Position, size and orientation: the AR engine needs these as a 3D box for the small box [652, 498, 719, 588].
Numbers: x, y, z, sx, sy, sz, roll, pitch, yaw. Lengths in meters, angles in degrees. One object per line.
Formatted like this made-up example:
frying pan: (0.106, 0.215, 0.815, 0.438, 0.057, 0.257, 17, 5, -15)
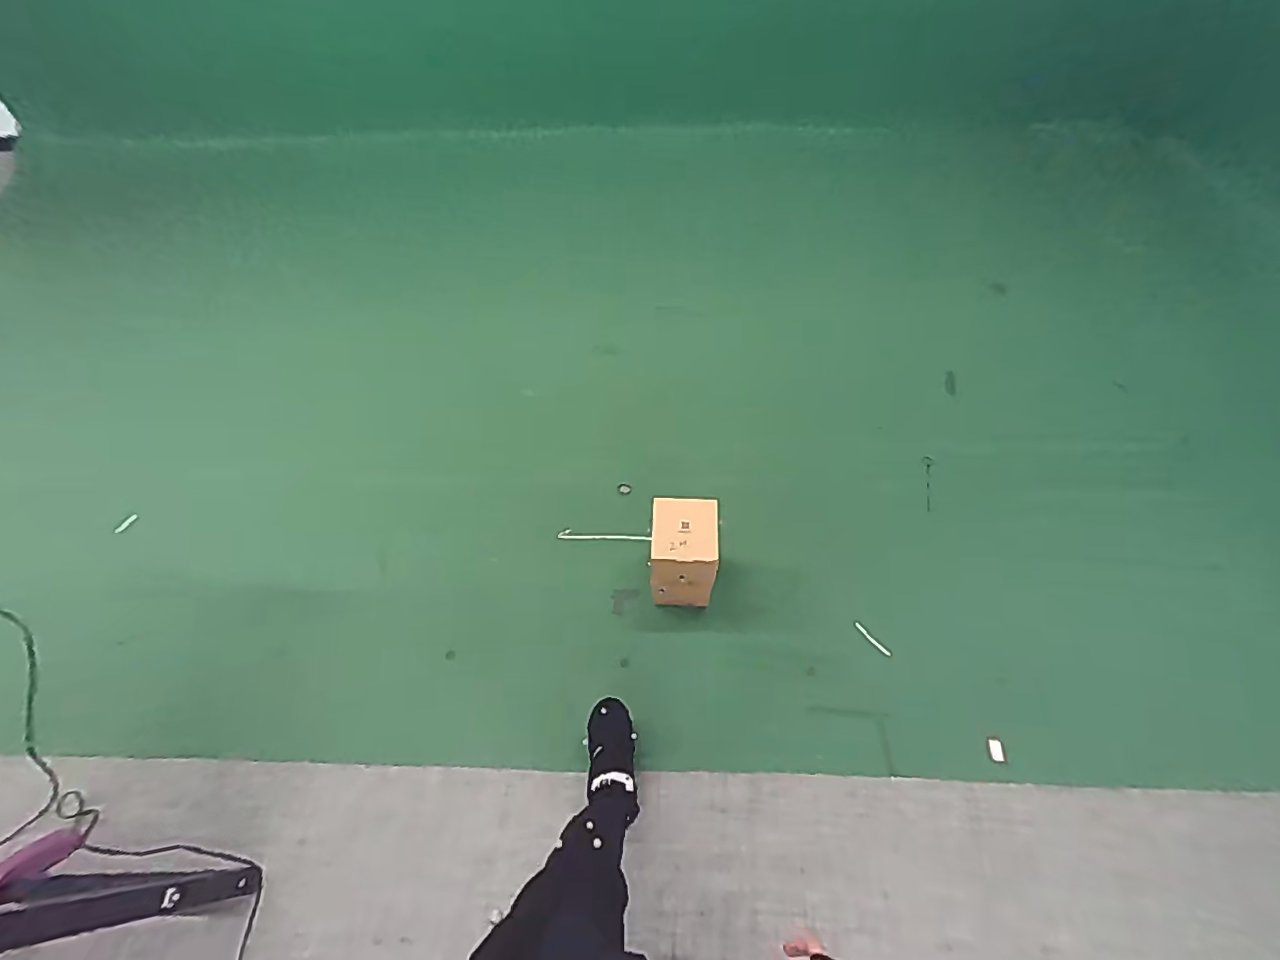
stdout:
small box: (0.118, 0.167, 1.414, 0.168, 0.176, 0.179, 2, 59, 4)
